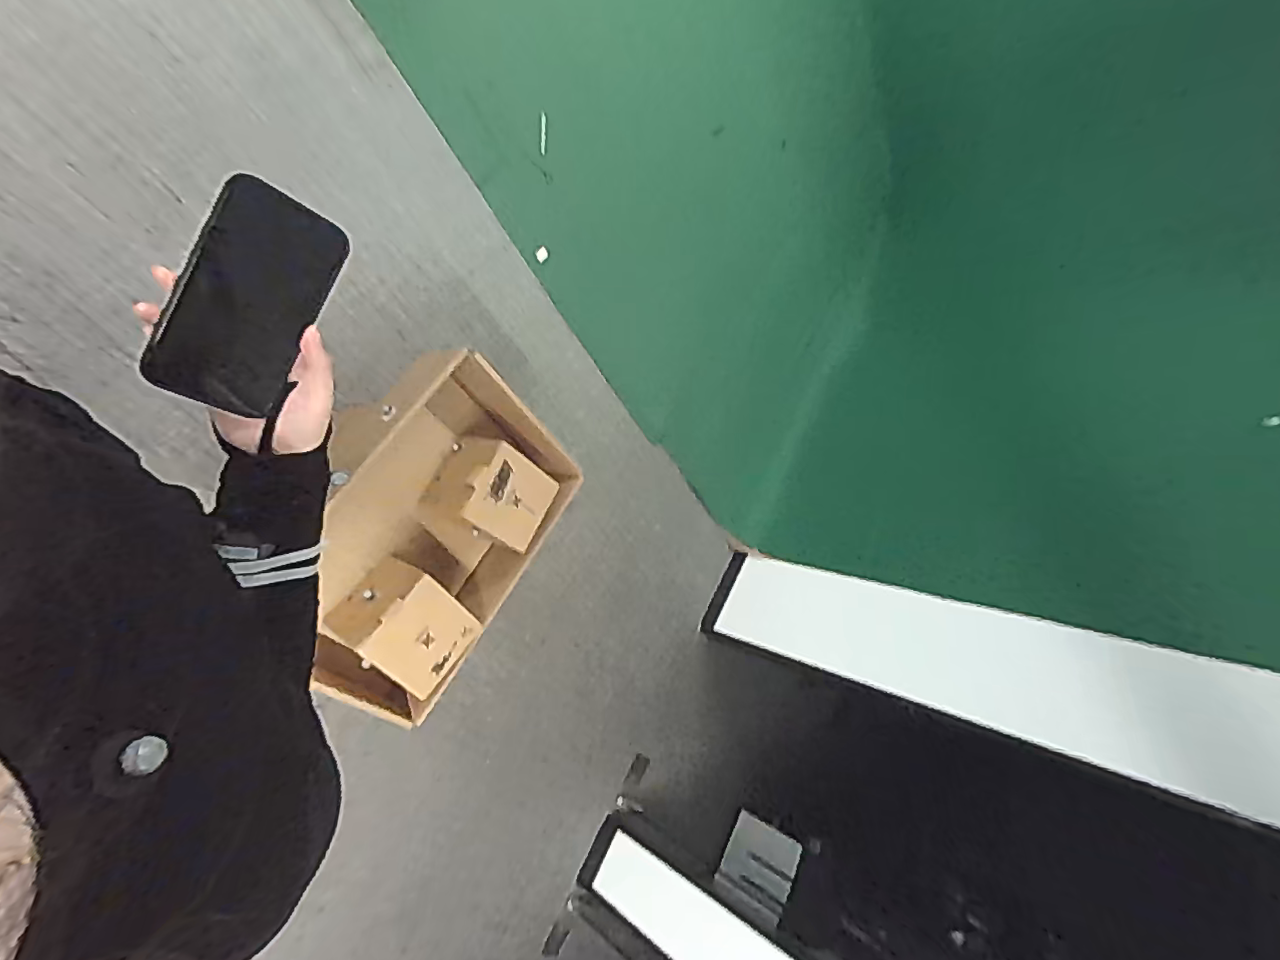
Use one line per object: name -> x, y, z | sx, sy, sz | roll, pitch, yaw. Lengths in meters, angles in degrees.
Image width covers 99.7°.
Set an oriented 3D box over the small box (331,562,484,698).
small box -> -0.441, 0.273, 1.022 | 0.168, 0.176, 0.179 | -52, 129, -28
